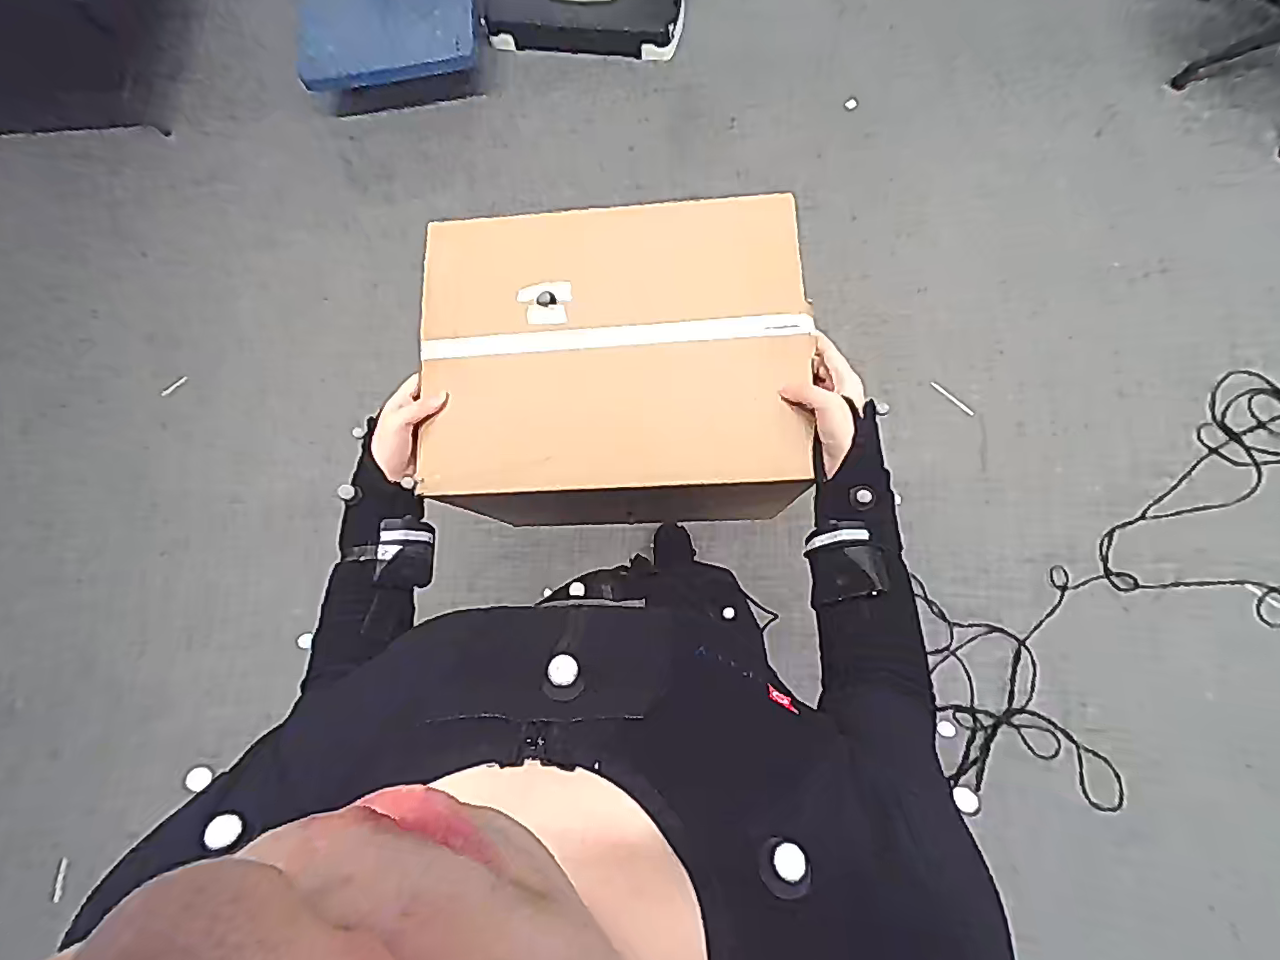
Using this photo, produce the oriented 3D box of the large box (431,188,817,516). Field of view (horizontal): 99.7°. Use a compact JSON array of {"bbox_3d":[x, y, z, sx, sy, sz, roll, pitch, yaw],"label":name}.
[{"bbox_3d":[-0.012,-0.127,0.719,0.408,0.320,0.320,-3,79,6],"label":"large box"}]
